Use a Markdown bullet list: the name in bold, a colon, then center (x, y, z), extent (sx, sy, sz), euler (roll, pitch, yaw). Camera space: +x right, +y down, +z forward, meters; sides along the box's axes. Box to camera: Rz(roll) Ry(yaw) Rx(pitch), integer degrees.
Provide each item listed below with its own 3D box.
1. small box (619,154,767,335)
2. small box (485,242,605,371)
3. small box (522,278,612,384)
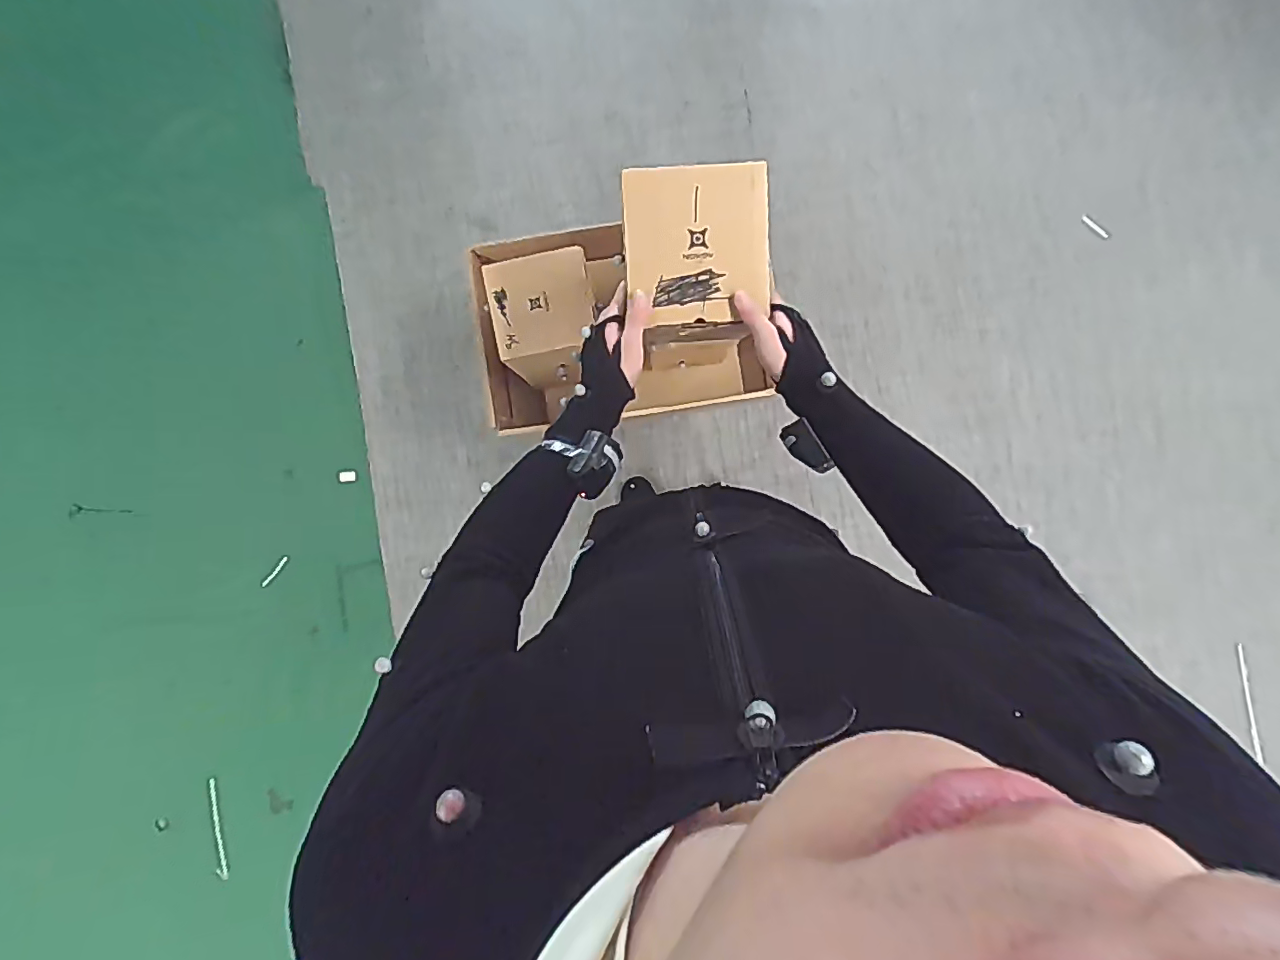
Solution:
- **small box**: center (0.061, -0.281, 0.686), extent (0.168, 0.176, 0.179), euler (-3, 97, -1)
- **small box**: center (-0.163, -0.306, 0.987), extent (0.179, 0.176, 0.168), euler (-11, 90, 1)
- **small box**: center (-0.161, -0.308, 1.151), extent (0.179, 0.176, 0.168), euler (-9, 90, 0)
